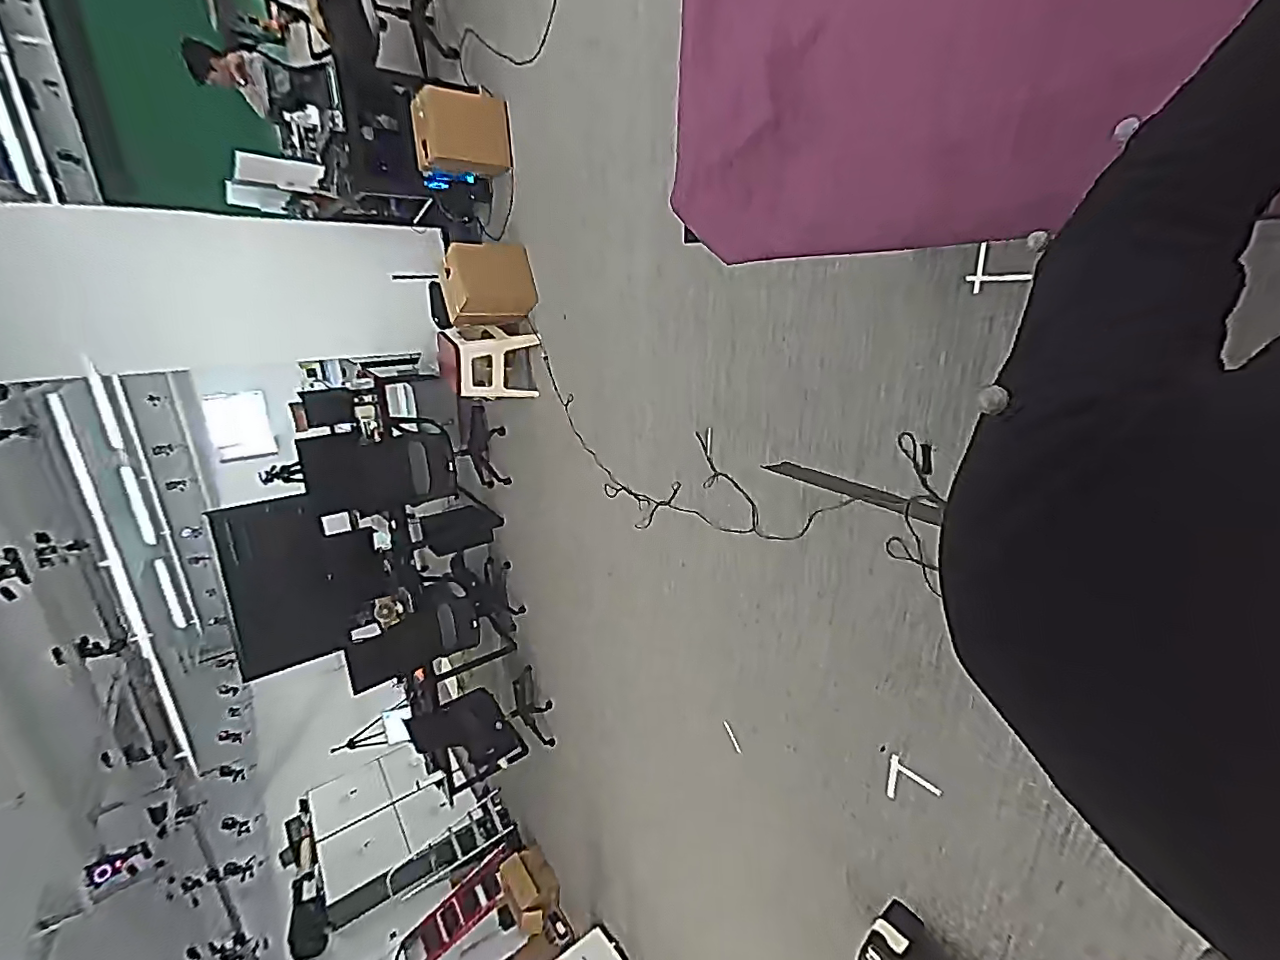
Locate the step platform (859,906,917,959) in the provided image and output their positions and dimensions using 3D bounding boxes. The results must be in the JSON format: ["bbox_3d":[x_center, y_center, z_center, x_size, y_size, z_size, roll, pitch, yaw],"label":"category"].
[{"bbox_3d":[0.995,1.683,1.601,0.684,0.204,0.286,23,121,49],"label":"step platform"}]
